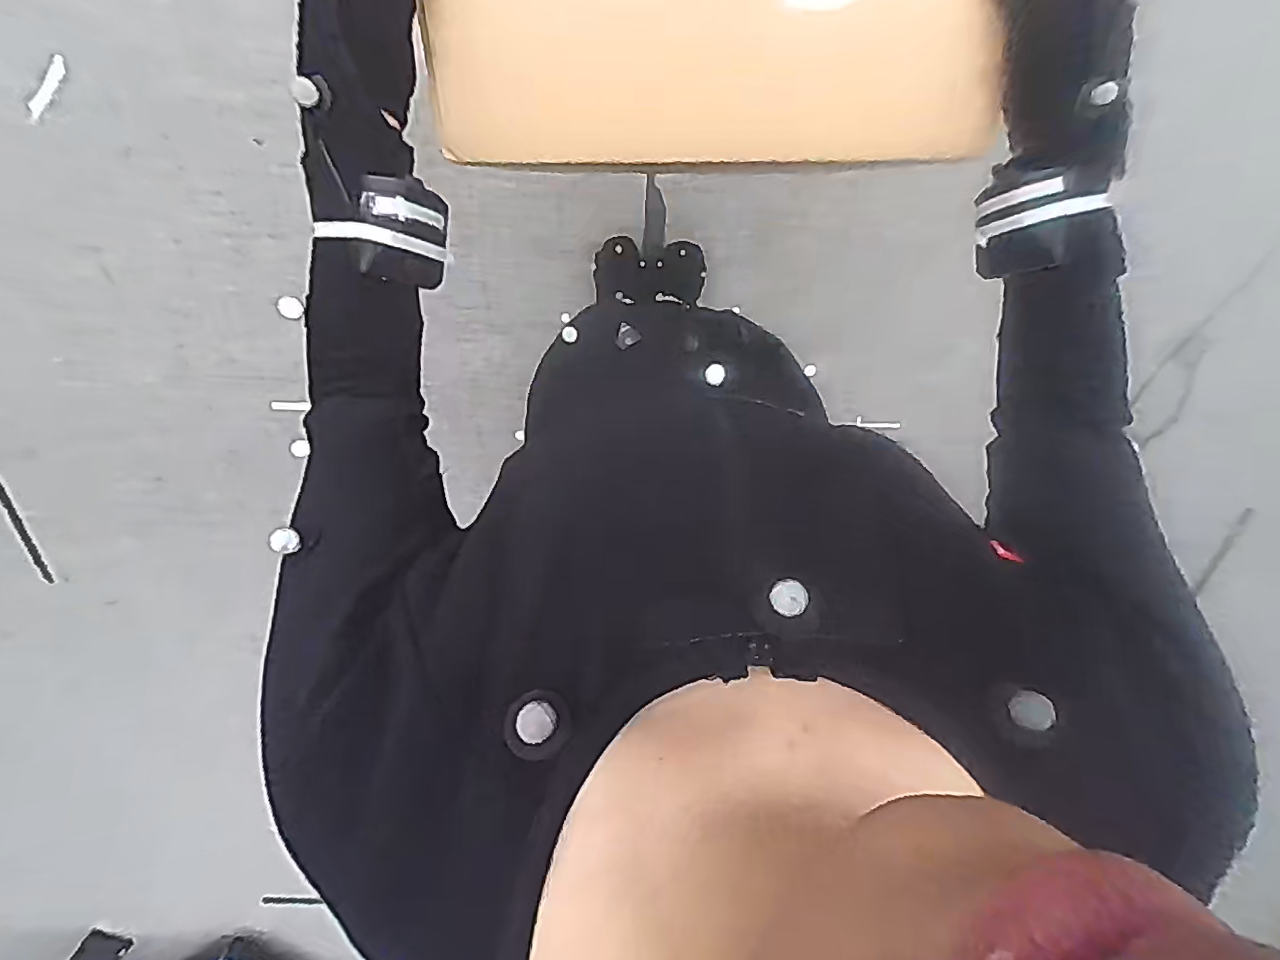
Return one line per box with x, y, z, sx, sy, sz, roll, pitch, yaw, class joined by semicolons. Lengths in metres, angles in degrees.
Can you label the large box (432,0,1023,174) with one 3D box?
0.053;-0.447;0.459;0.408;0.320;0.320;-1;119;-1;large box
